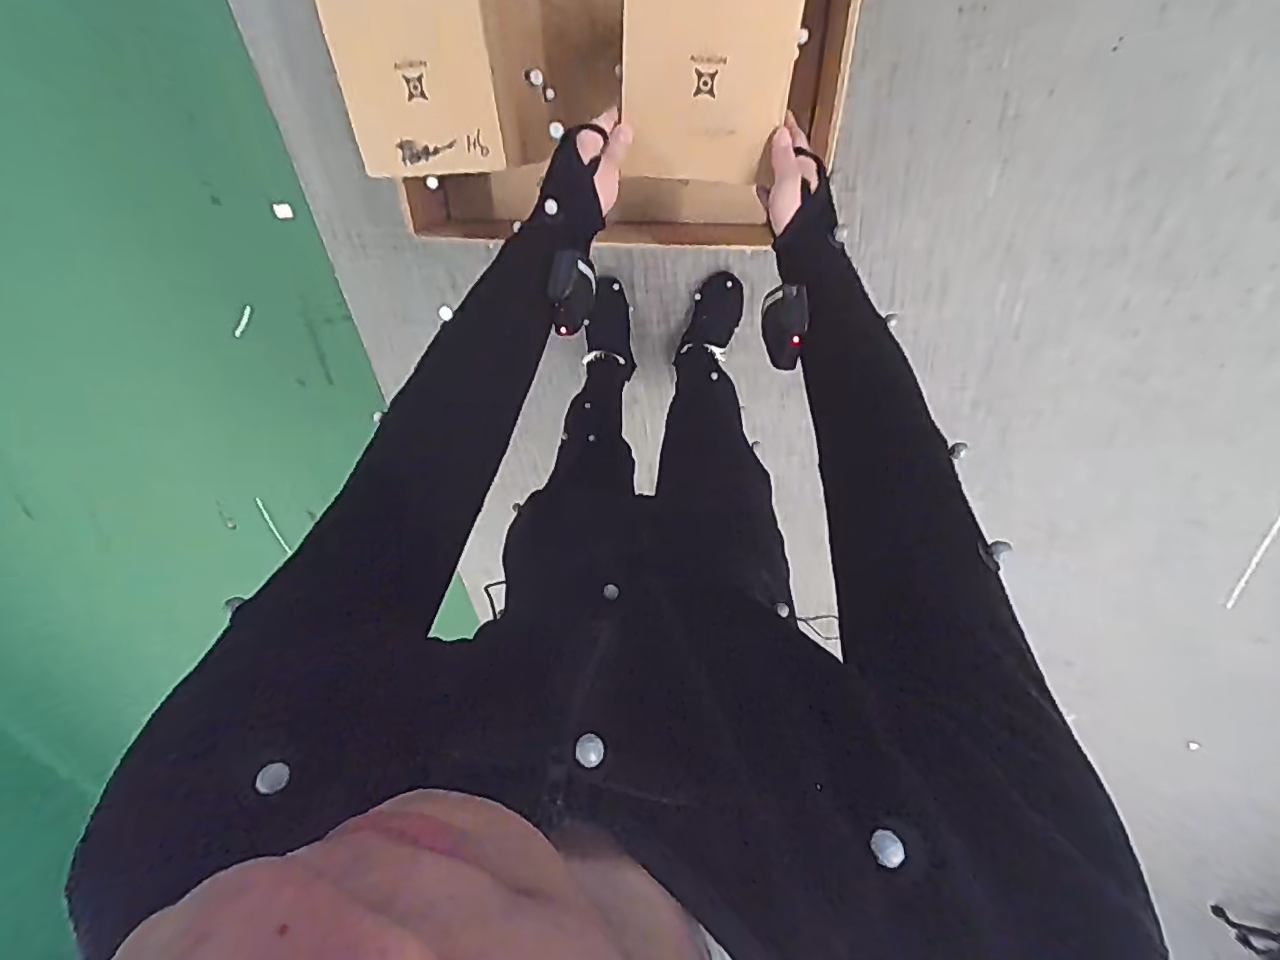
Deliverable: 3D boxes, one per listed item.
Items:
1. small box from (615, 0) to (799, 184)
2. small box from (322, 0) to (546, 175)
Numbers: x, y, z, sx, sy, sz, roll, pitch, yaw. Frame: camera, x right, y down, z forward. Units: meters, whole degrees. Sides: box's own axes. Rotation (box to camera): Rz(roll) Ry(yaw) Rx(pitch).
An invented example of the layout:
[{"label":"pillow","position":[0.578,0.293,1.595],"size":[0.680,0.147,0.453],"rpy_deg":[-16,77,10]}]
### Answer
[{"label":"small box","position":[0.069,-0.438,0.593],"size":[0.168,0.176,0.179],"rpy_deg":[7,125,5]},{"label":"small box","position":[-0.220,-0.462,0.626],"size":[0.168,0.176,0.179],"rpy_deg":[2,124,10]}]
